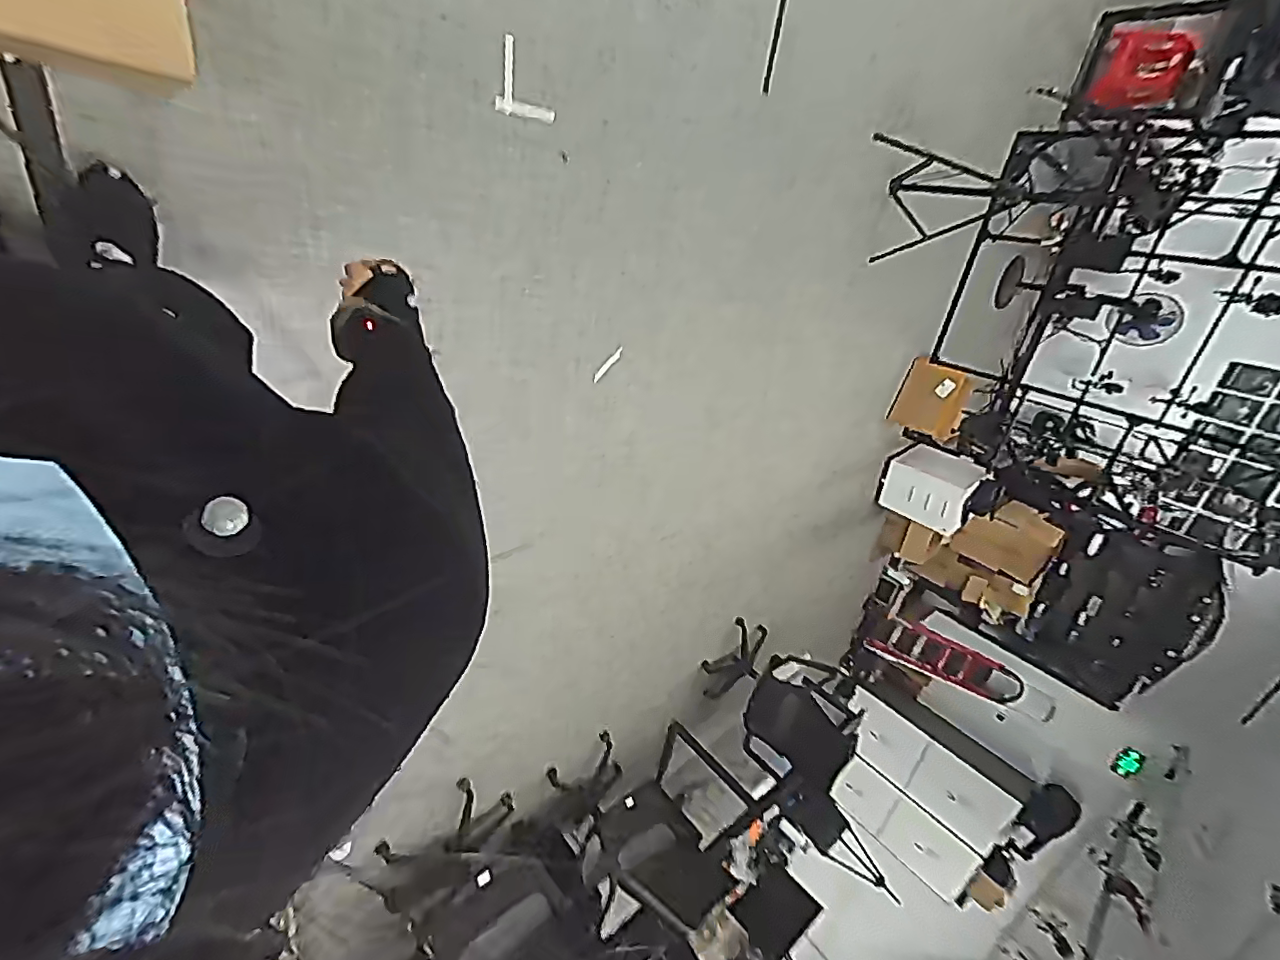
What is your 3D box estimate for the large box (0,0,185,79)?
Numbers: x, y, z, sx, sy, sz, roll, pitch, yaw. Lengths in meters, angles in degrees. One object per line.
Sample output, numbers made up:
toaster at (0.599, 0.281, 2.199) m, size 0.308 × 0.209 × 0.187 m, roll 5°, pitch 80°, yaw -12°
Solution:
large box at (-0.890, -0.769, 0.704) m, size 0.408 × 0.320 × 0.320 m, roll -12°, pitch 121°, yaw -41°
